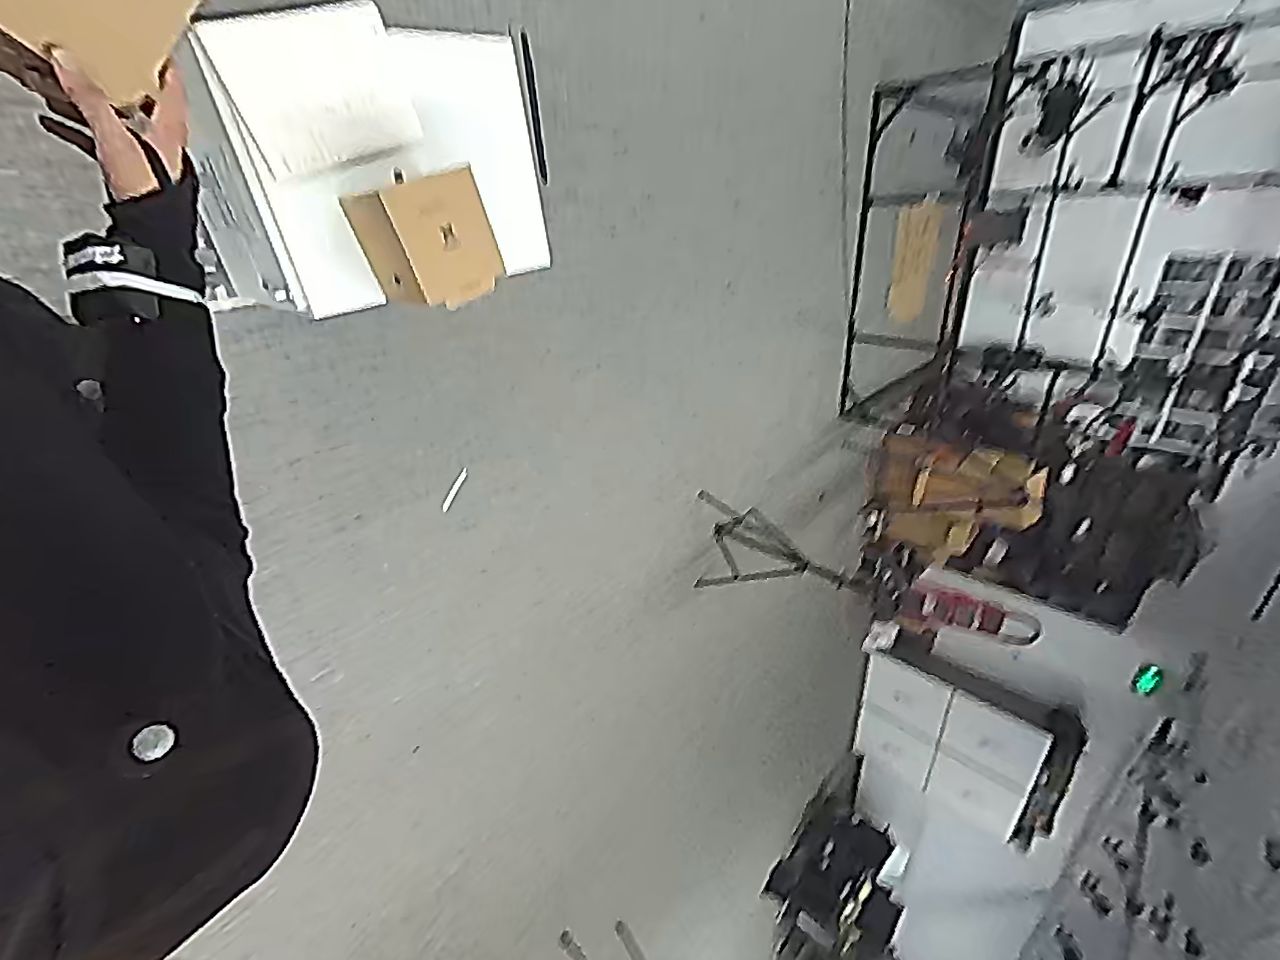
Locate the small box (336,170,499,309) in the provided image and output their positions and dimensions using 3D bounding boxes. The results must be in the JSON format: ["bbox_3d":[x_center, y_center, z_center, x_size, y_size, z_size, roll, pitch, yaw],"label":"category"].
[{"bbox_3d":[-0.379,-0.413,0.929,0.168,0.176,0.179,-40,132,-32],"label":"small box"}]

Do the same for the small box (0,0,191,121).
[{"bbox_3d":[-0.486,-0.414,0.404,0.168,0.176,0.179,-65,152,-4],"label":"small box"}]
